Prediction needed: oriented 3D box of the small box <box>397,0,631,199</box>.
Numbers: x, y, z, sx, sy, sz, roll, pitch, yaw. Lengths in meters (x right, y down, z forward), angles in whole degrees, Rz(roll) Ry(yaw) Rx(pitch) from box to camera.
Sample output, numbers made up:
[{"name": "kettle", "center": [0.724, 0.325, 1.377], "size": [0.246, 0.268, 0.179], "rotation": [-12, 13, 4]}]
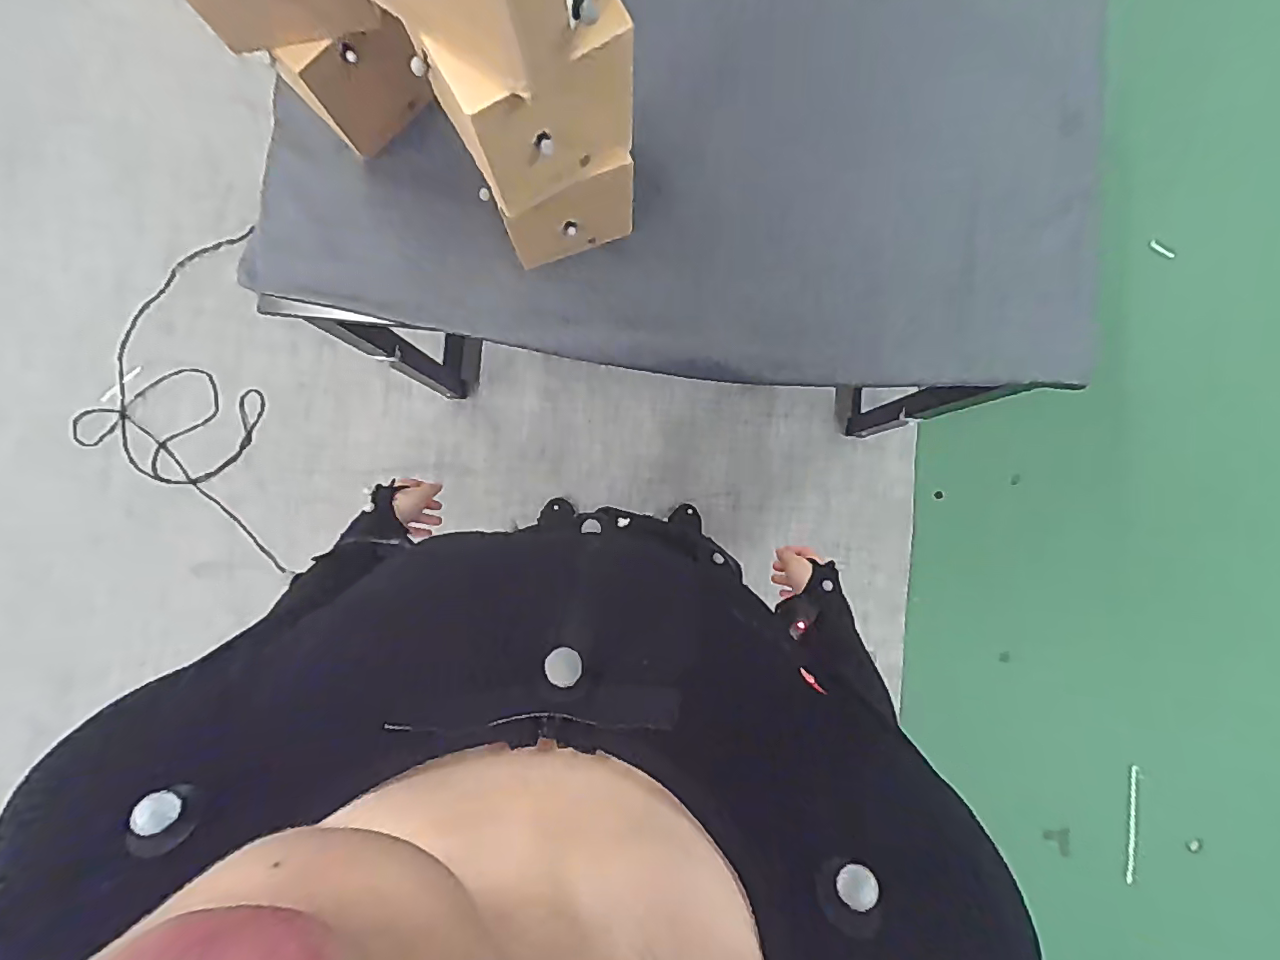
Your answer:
[{"name": "small box", "center": [-0.118, -0.417, 0.538], "size": [0.168, 0.176, 0.179], "rotation": [-31, 88, -2]}]

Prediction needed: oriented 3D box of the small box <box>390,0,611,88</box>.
[{"name": "small box", "center": [-0.112, -0.432, 0.376], "size": [0.179, 0.176, 0.168], "rotation": [34, 89, 0]}]

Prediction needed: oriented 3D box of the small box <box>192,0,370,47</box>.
[{"name": "small box", "center": [-0.393, -0.587, 0.538], "size": [0.179, 0.176, 0.168], "rotation": [-13, 89, -1]}]

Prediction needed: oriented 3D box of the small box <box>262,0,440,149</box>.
[{"name": "small box", "center": [-0.395, -0.586, 0.703], "size": [0.168, 0.176, 0.179], "rotation": [-44, 90, -2]}]

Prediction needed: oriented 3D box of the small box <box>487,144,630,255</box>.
[{"name": "small box", "center": [-0.114, -0.417, 0.700], "size": [0.168, 0.176, 0.179], "rotation": [-20, 88, -2]}]
